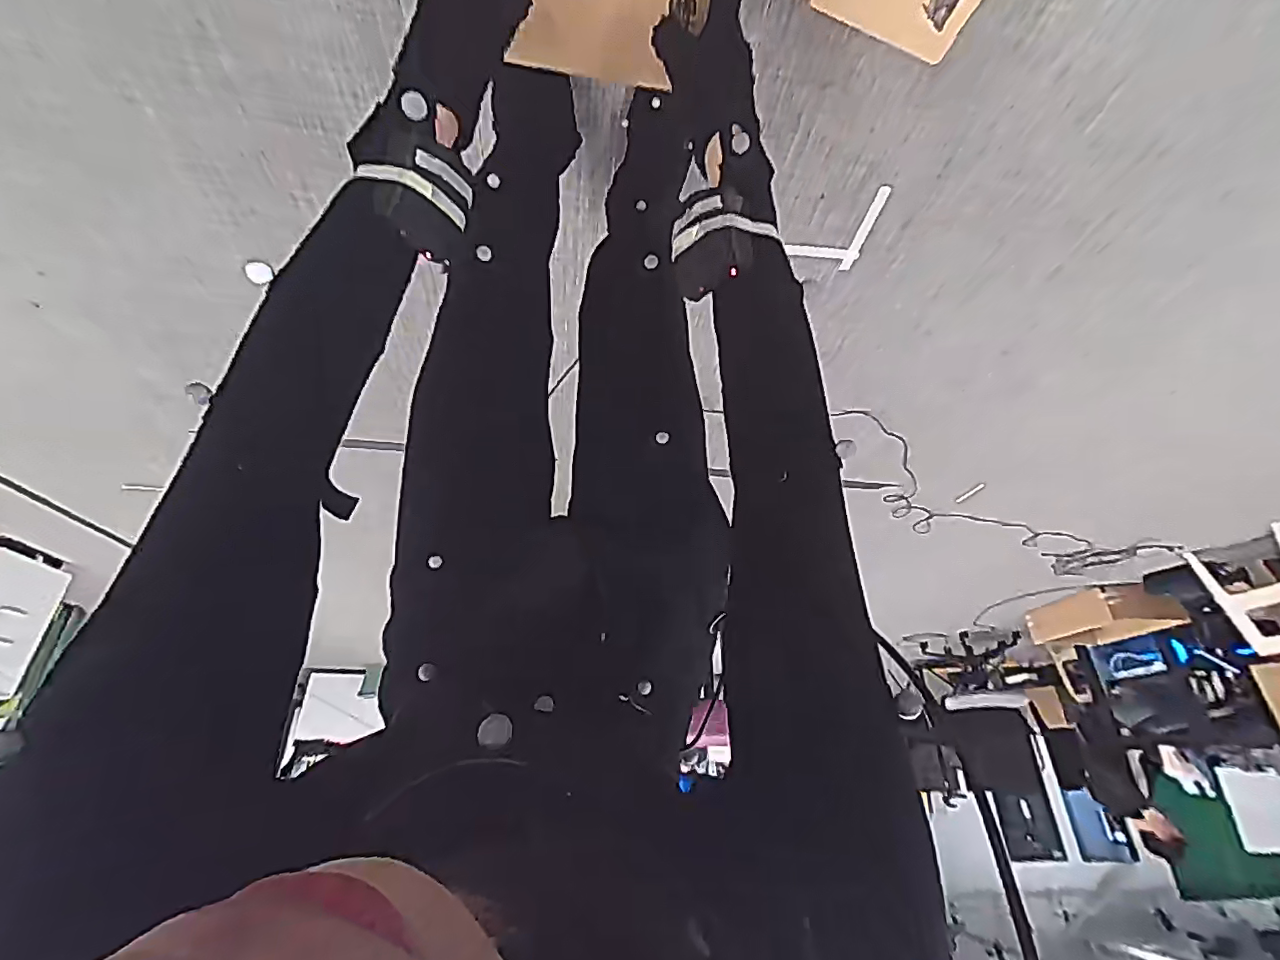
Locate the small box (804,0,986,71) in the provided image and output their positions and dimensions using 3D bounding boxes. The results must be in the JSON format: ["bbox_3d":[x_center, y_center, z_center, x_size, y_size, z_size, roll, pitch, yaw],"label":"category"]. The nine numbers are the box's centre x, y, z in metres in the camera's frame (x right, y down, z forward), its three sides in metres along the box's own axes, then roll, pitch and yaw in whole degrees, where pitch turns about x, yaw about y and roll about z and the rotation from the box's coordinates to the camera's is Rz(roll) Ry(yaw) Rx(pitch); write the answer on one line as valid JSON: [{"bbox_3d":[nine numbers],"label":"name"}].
[{"bbox_3d":[0.285,-0.589,0.568,0.179,0.176,0.168,10,149,-17],"label":"small box"}]

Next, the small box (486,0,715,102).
[{"bbox_3d":[-0.025,-0.449,0.437,0.179,0.176,0.168,5,146,-9],"label":"small box"}]
